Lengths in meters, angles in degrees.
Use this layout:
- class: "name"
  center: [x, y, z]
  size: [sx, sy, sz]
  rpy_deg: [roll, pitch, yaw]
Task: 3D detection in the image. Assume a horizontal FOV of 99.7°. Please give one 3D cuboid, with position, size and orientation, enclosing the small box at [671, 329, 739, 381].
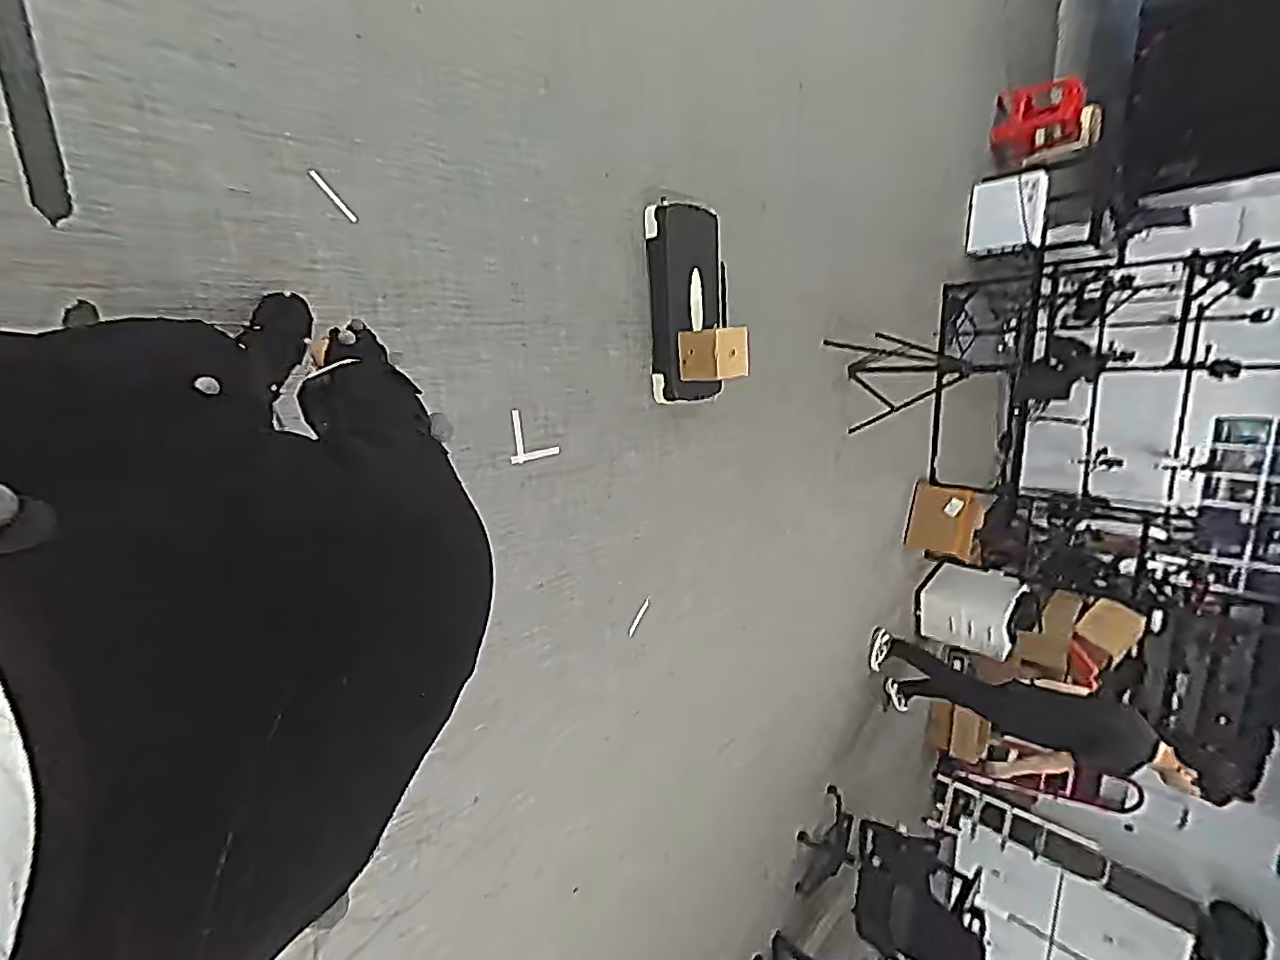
- class: "small box"
  center: [0.229, -0.438, 1.888]
  size: [0.179, 0.176, 0.168]
  rpy_deg: [-17, 109, -41]
